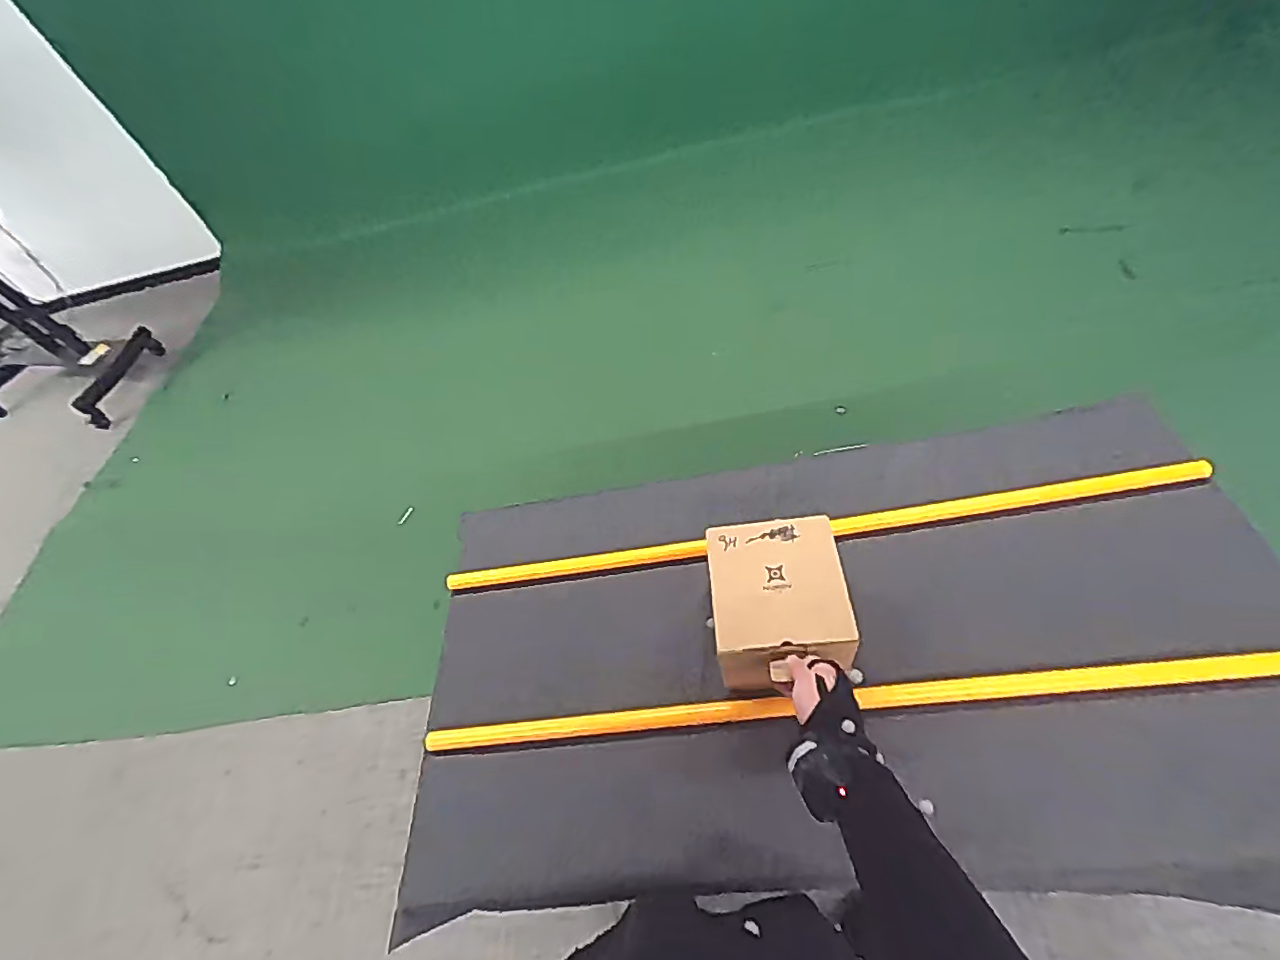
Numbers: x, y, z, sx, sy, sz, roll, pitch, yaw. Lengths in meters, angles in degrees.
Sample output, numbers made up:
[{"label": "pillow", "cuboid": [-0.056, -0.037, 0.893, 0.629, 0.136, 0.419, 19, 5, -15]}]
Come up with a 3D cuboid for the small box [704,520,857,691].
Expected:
[{"label": "small box", "cuboid": [0.190, 0.182, 0.750, 0.168, 0.176, 0.179, -10, 52, 9]}]
